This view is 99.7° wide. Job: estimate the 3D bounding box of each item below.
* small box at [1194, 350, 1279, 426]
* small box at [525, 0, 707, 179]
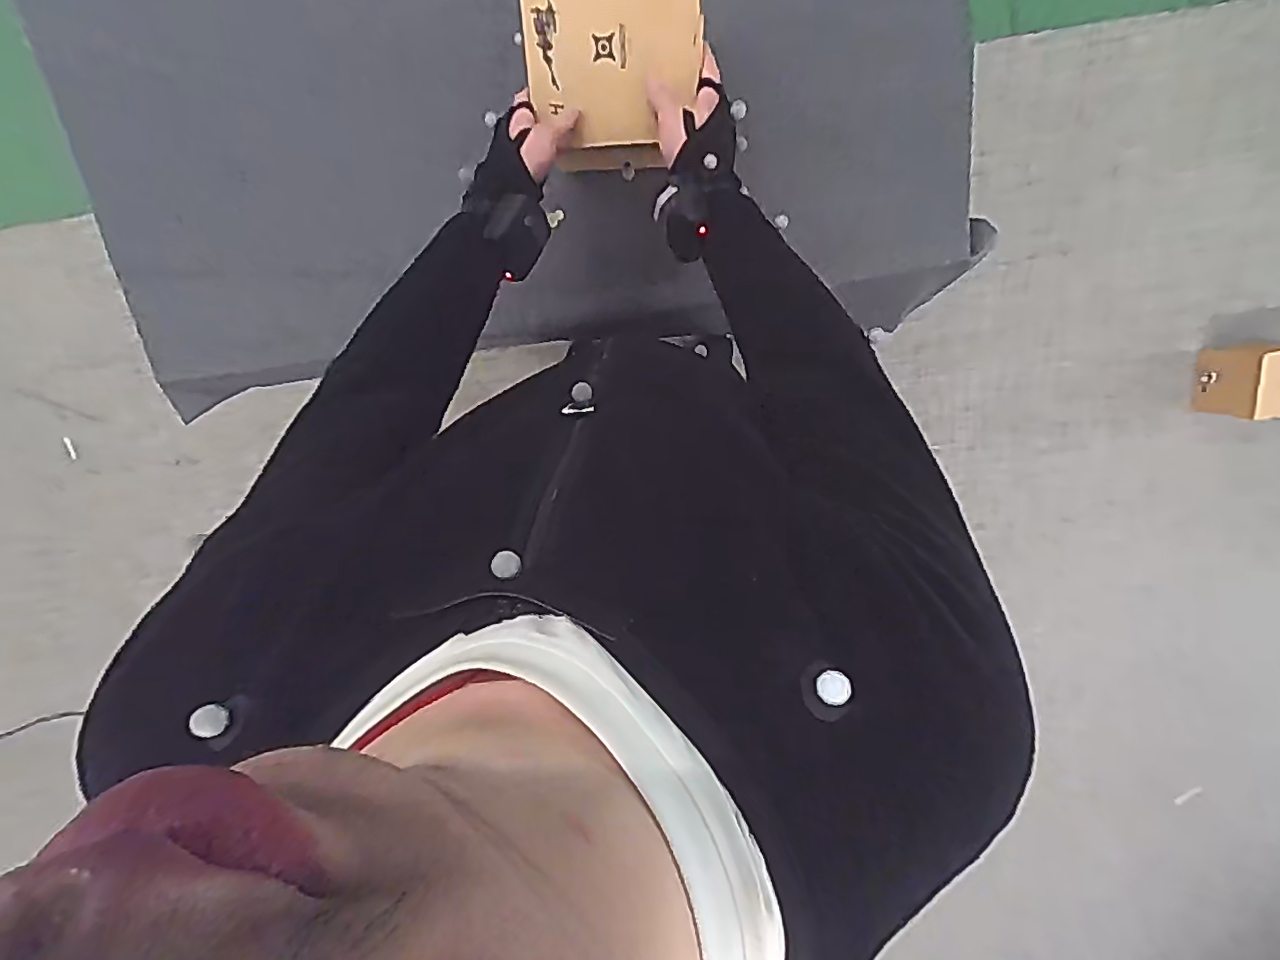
[{"bbox_3d":[1.573,-0.235,1.358,0.179,0.176,0.168,-5,103,4],"label":"small box"},{"bbox_3d":[-0.020,-0.443,0.609,0.179,0.176,0.168,-1,113,3],"label":"small box"}]
